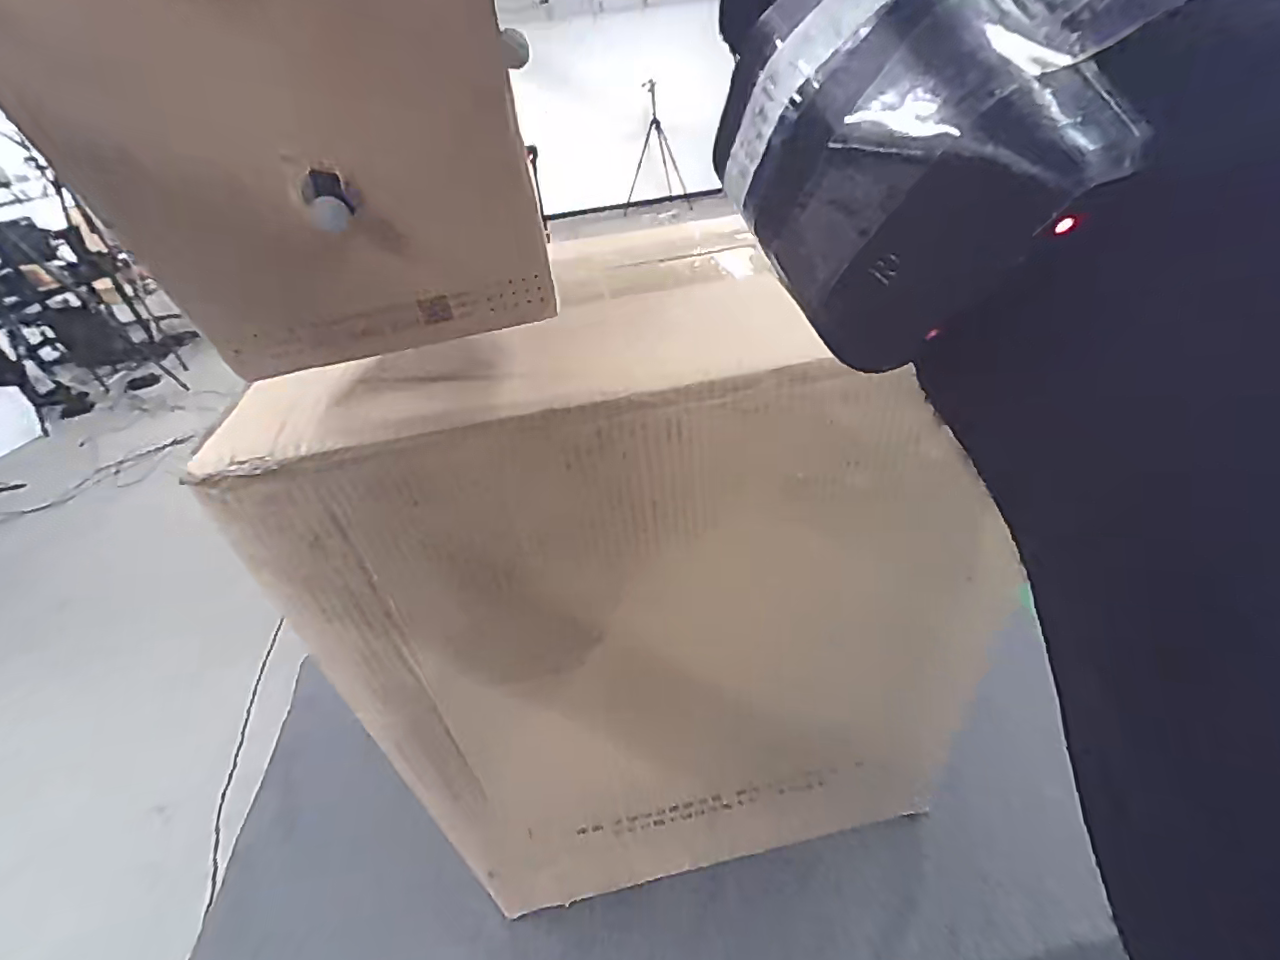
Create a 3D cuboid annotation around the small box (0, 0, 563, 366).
[{"bbox_3d":[-0.143,-0.177,0.272,0.168,0.176,0.179,-14,55,-6],"label":"small box"}]
